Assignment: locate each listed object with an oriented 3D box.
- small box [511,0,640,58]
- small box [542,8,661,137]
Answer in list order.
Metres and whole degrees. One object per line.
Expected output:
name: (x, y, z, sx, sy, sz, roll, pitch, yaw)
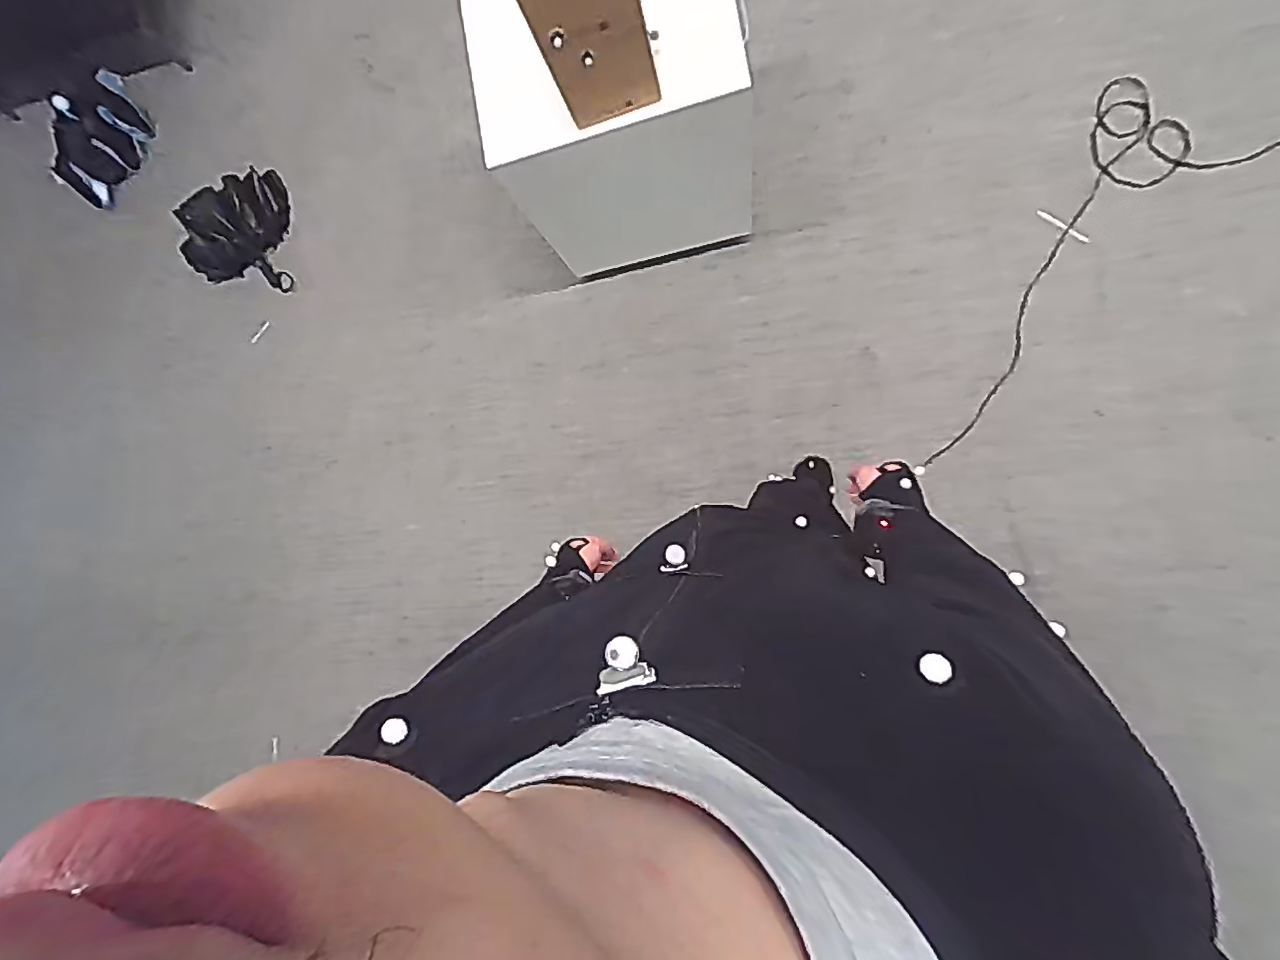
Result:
small box: (-0.106, -0.745, 0.759, 0.168, 0.176, 0.179, -13, 84, 11)
small box: (-0.072, -0.738, 0.921, 0.168, 0.176, 0.179, -14, 84, 12)
